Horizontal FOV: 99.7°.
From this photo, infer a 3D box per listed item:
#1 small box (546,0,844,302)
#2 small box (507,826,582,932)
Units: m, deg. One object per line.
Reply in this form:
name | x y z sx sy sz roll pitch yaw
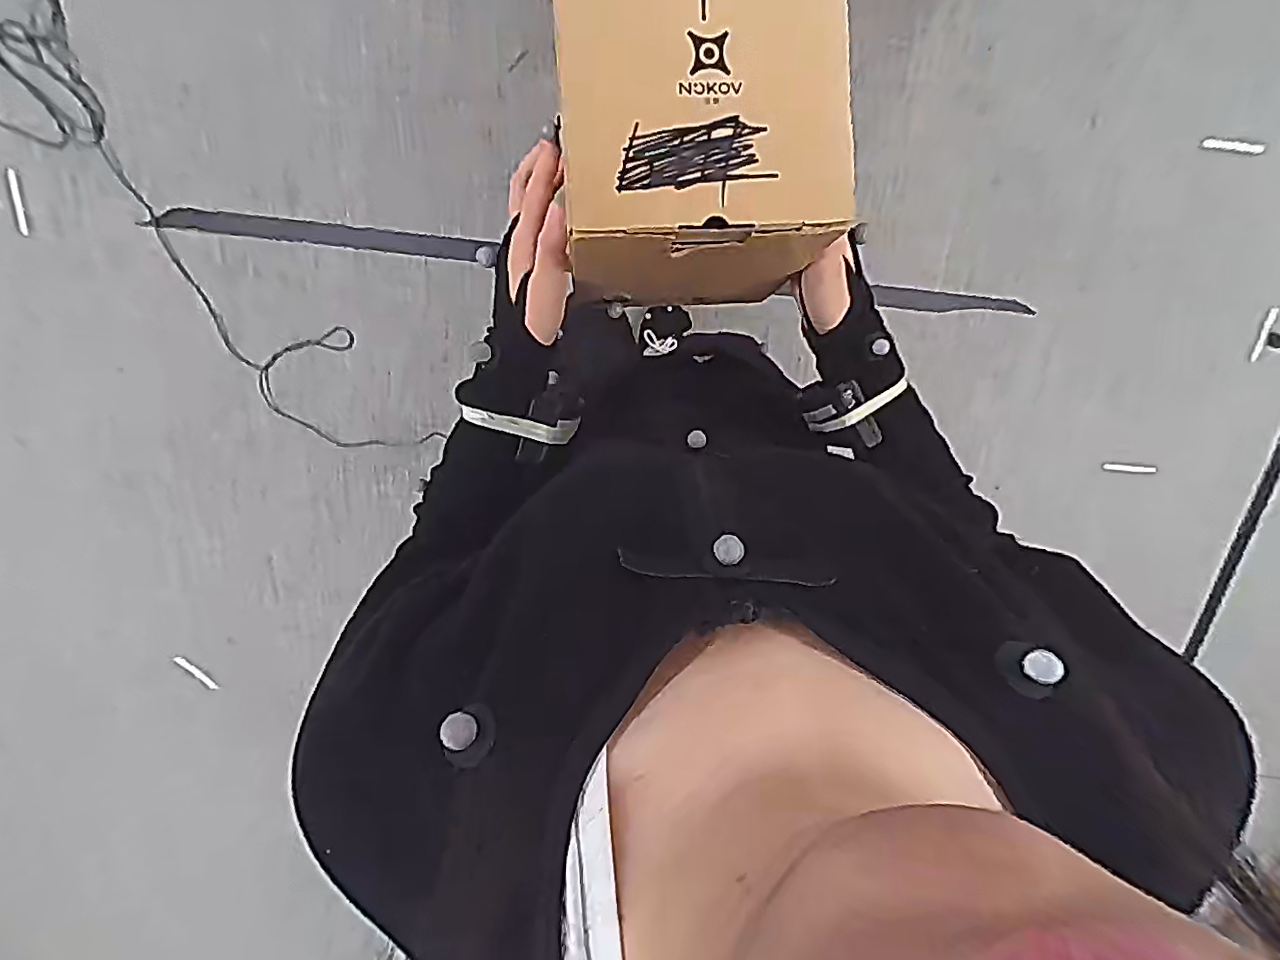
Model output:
small box | 0.026 -0.233 0.383 0.168 0.176 0.179 -5 92 -5
small box | -0.252 1.065 1.452 0.179 0.176 0.168 4 106 -2
